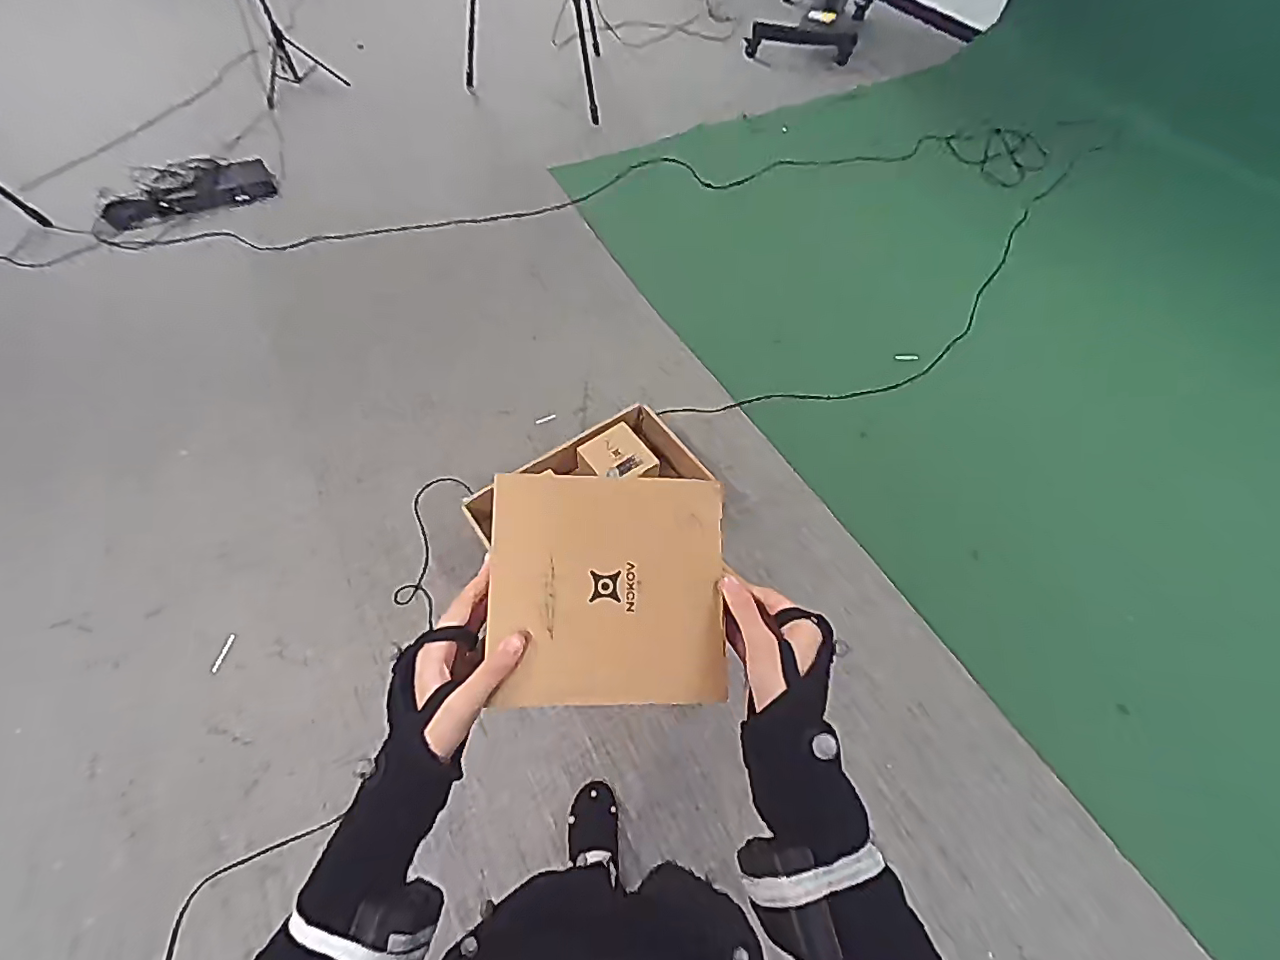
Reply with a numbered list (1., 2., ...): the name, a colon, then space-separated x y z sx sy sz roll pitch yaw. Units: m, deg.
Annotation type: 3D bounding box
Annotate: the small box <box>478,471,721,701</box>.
1. small box: -0.036 0.092 0.479 0.179 0.176 0.168 3 78 -7
